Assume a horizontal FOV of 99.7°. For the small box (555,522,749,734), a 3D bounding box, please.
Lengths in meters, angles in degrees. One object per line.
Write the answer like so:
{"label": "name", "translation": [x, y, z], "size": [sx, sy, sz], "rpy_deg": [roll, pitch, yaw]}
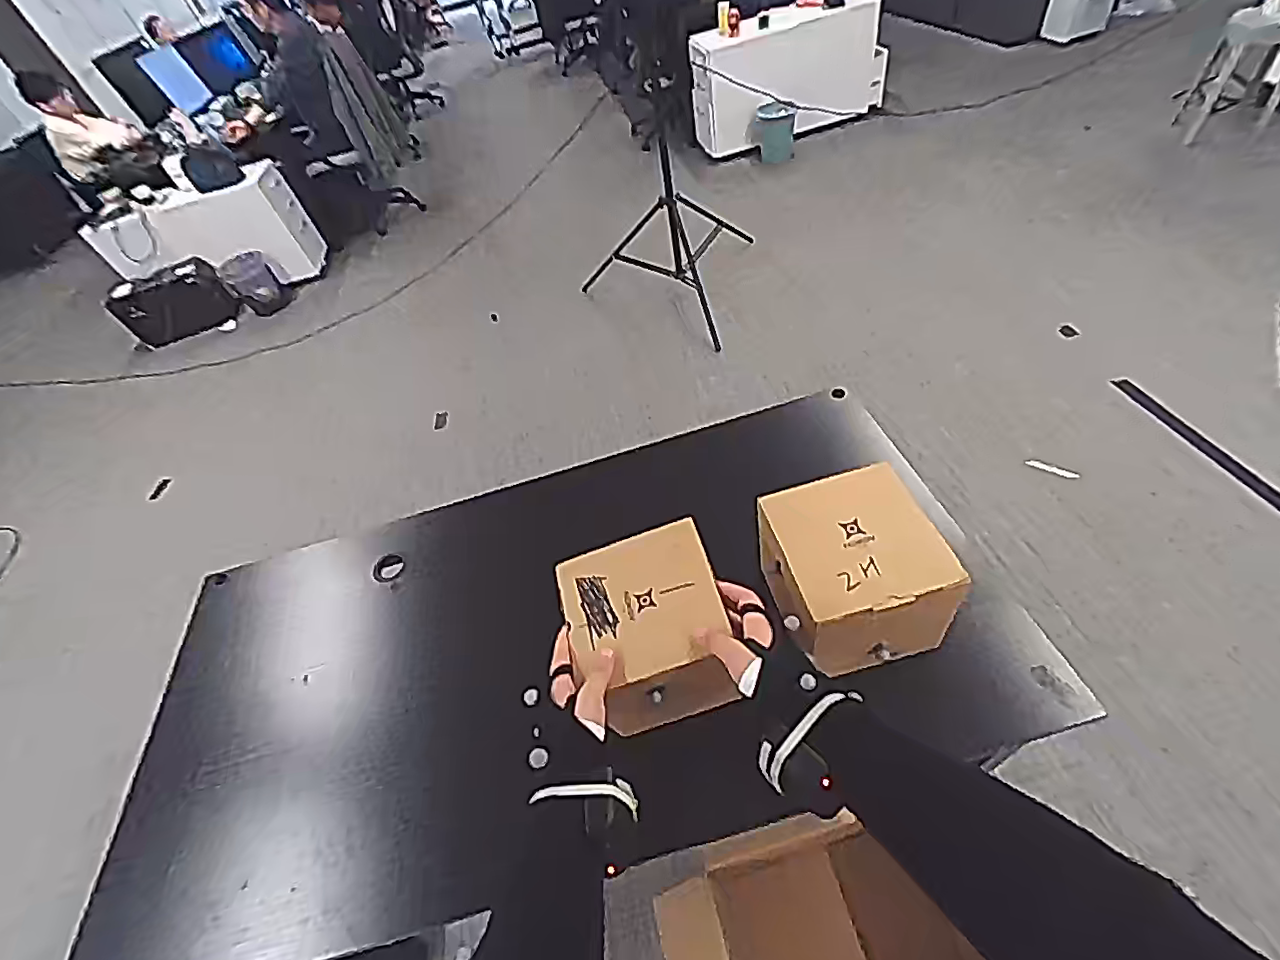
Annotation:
{"label": "small box", "translation": [0.016, 0.184, 0.650], "size": [0.179, 0.176, 0.168], "rpy_deg": [-19, 50, 4]}

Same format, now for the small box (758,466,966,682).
{"label": "small box", "translation": [0.250, 0.116, 0.658], "size": [0.168, 0.176, 0.179], "rpy_deg": [-16, 48, 2]}
